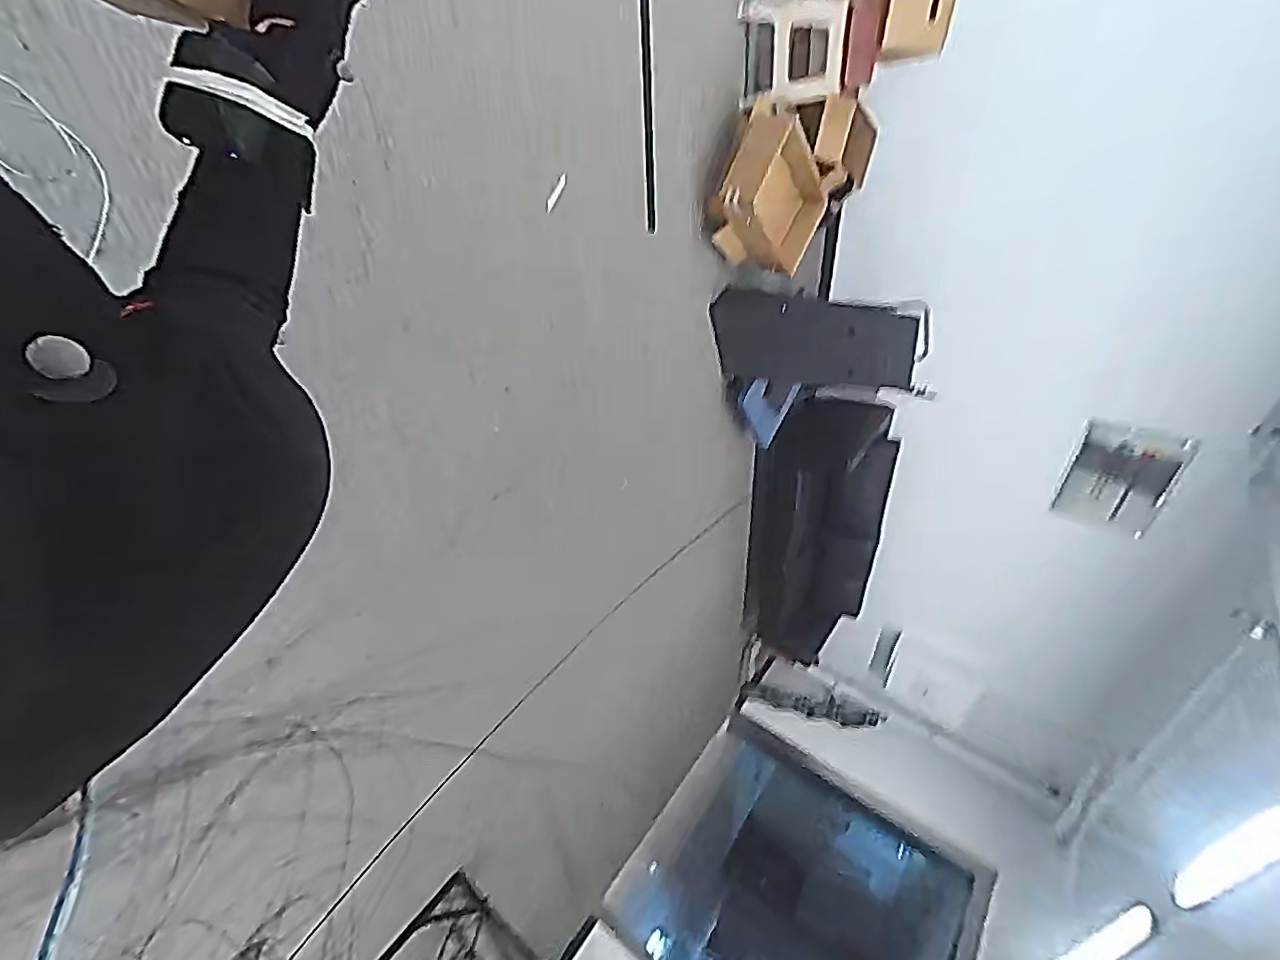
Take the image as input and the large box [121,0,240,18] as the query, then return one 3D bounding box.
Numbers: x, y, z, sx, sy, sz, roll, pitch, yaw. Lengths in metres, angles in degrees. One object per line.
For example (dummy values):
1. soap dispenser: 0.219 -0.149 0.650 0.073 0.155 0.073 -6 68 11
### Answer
1. large box: -0.451 -0.518 0.245 0.408 0.320 0.320 -3 122 -56
